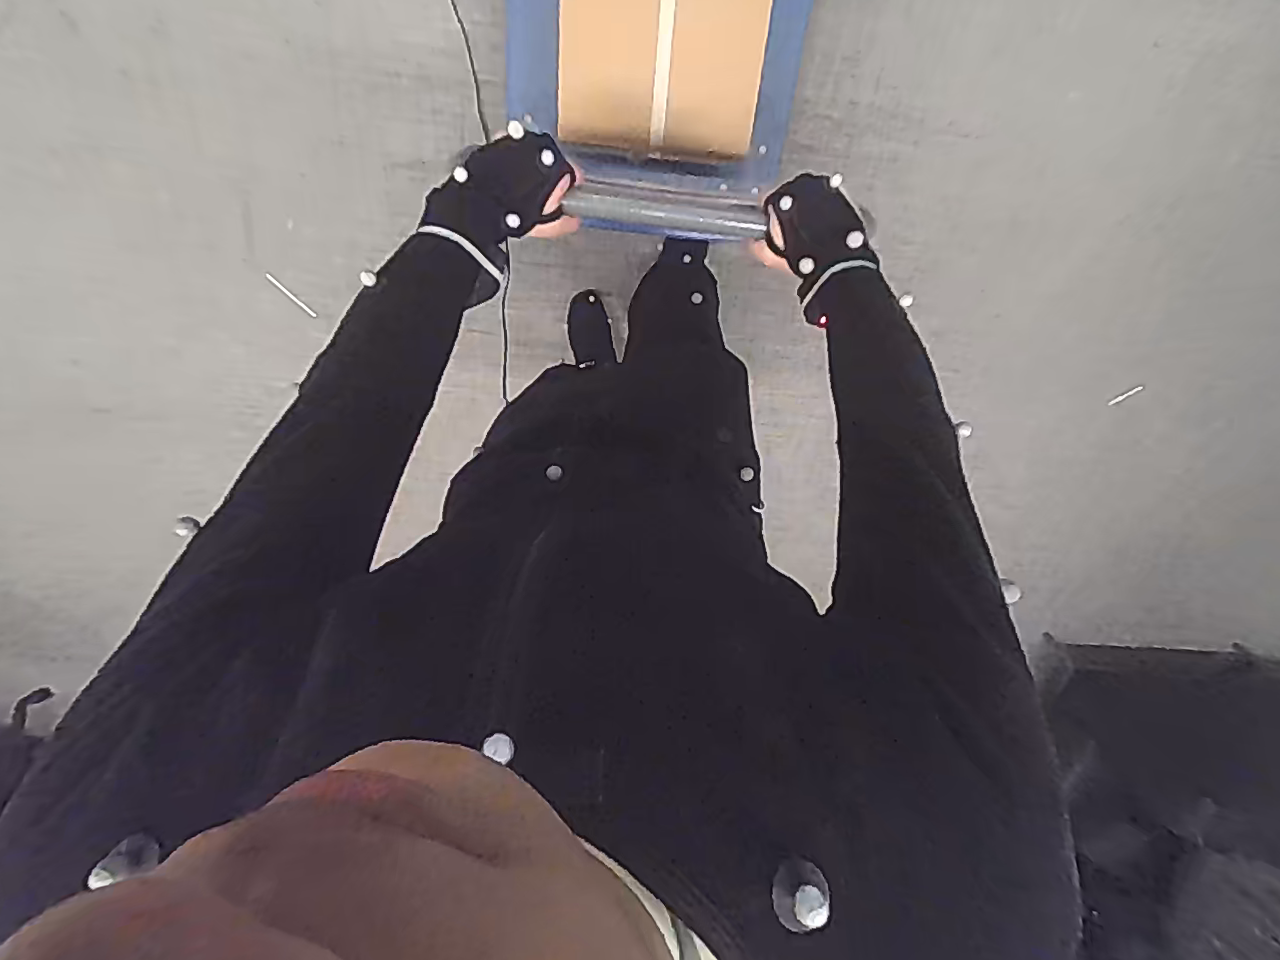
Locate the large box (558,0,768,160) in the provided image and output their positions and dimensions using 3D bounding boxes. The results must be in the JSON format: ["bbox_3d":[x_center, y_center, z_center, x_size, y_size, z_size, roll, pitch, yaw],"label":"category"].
[{"bbox_3d":[0.035,-0.788,0.919,0.320,0.320,0.408,3,119,-4],"label":"large box"}]
